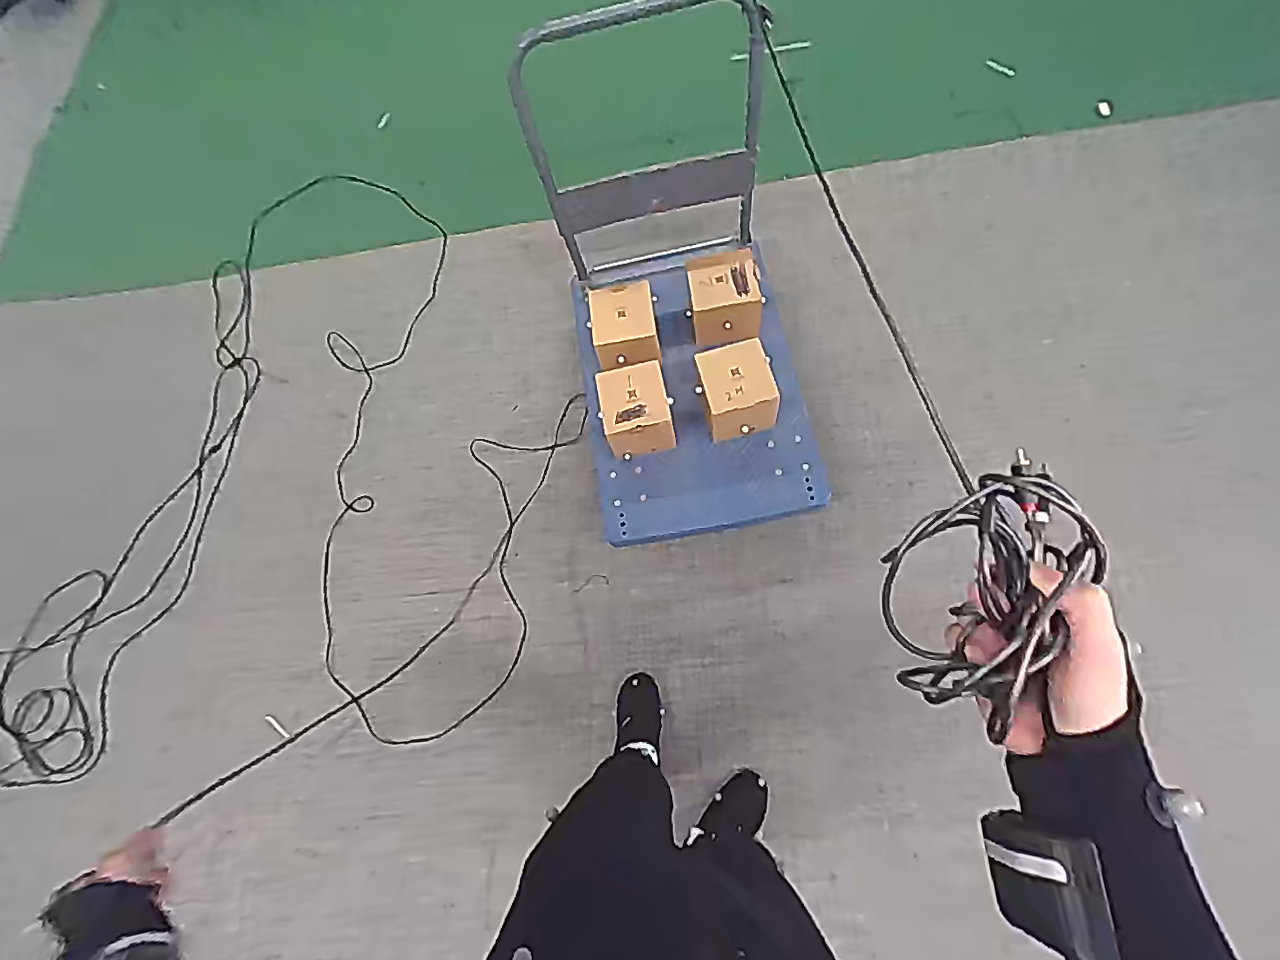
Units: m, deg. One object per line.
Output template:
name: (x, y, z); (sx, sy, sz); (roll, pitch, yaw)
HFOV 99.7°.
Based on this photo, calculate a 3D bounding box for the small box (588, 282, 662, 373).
small box: (-0.037, -0.403, 1.475); (0.168, 0.176, 0.179); (-9, 69, 5)

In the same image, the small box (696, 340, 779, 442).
small box: (0.241, -0.220, 1.368); (0.168, 0.176, 0.179); (-15, 69, 4)

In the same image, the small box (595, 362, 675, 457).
small box: (-0.008, -0.171, 1.387); (0.168, 0.176, 0.179); (-12, 69, 3)
